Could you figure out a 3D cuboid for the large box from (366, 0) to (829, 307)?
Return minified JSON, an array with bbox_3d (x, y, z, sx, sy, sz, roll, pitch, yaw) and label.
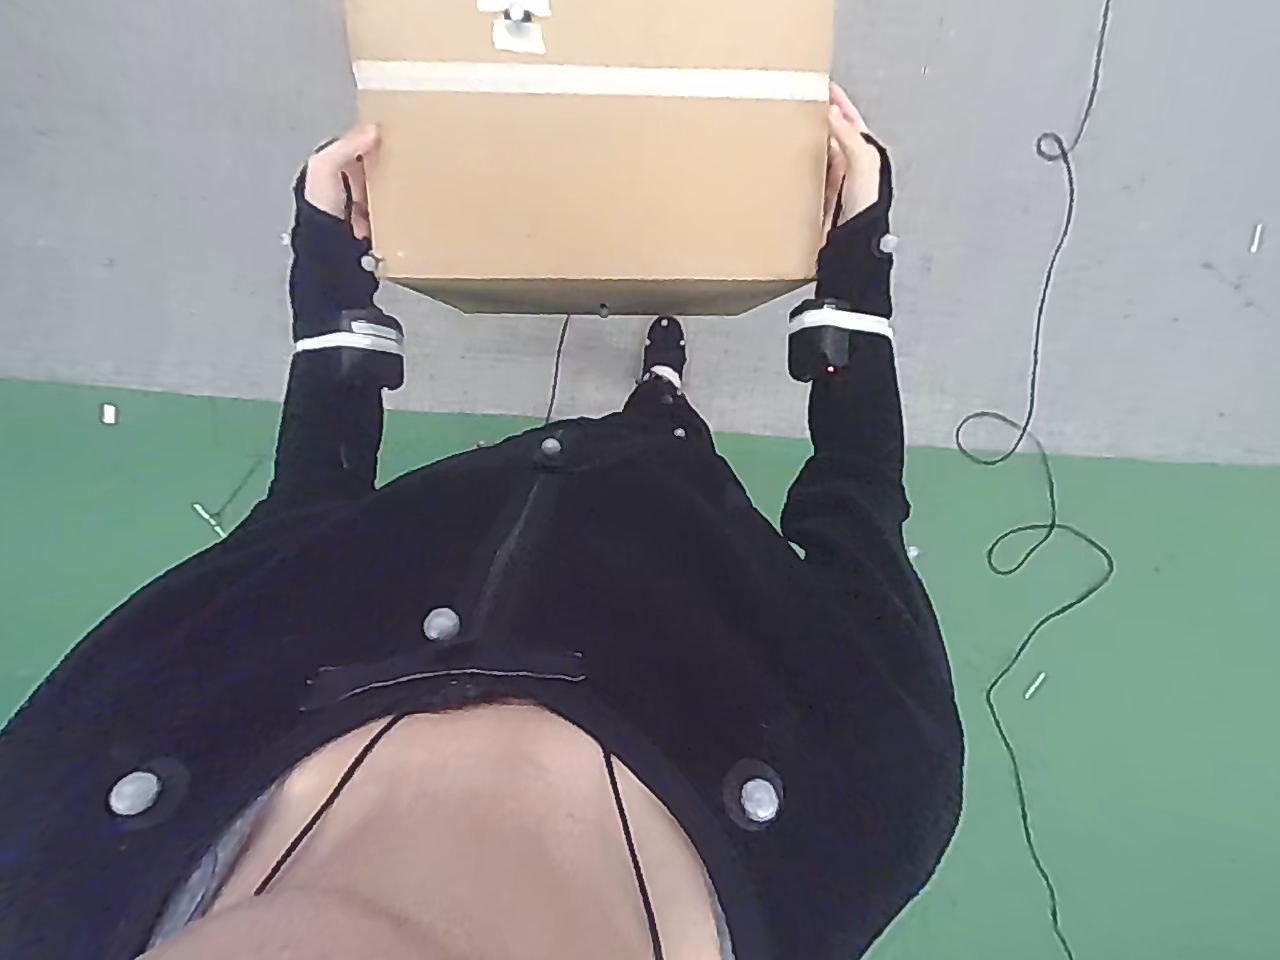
[{"bbox_3d":[-0.038,-0.373,0.621,0.408,0.320,0.320,-1,101,-3],"label":"large box"}]
